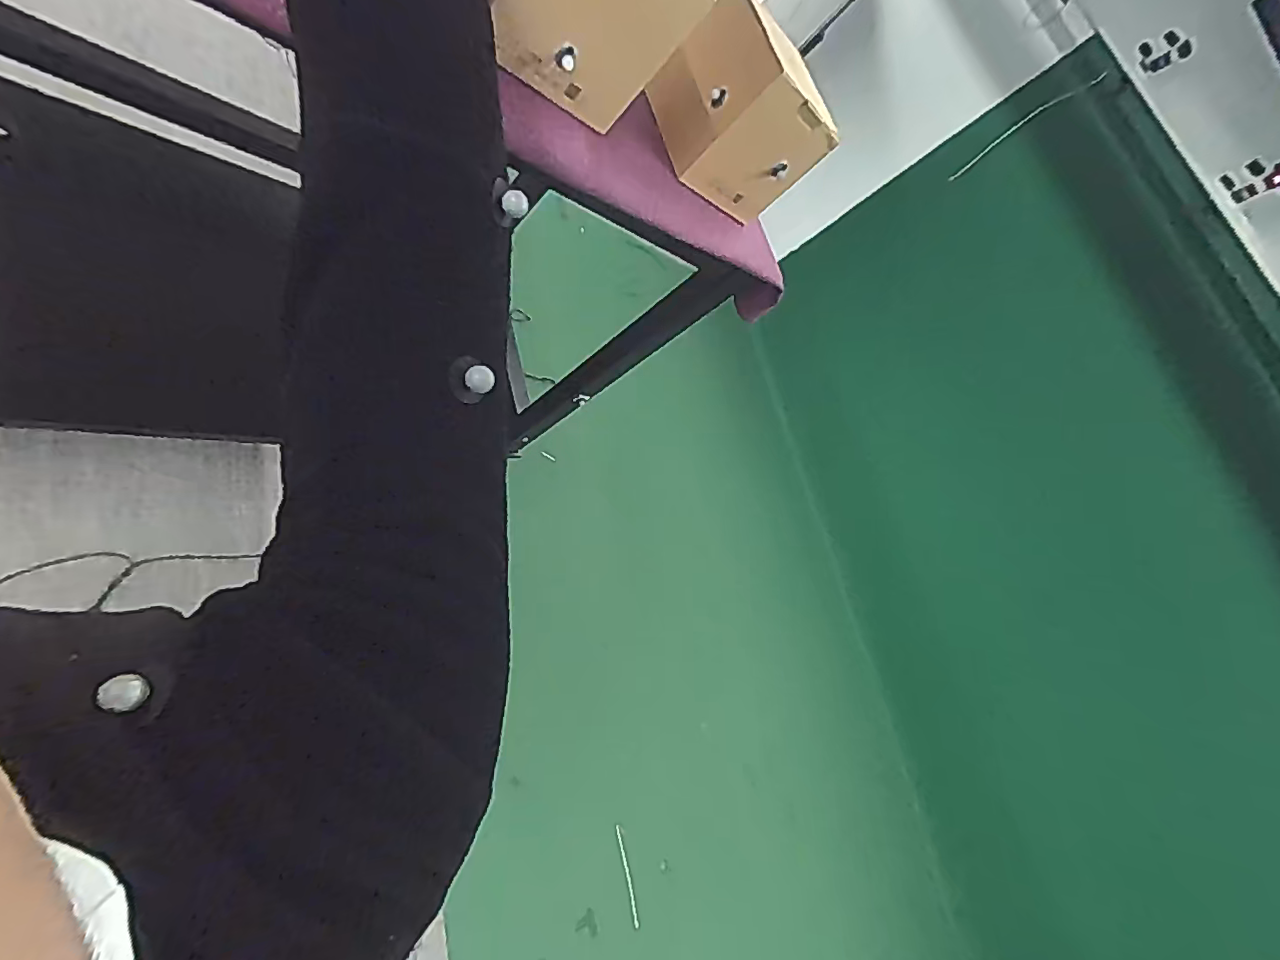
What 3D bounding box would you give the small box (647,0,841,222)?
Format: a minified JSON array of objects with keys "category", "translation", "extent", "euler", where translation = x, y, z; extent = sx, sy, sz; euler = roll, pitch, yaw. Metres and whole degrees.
[{"category":"small box","translation":[0.136,-0.494,0.735],"extent":[0.168,0.176,0.179],"euler":[4,64,-47]}]
